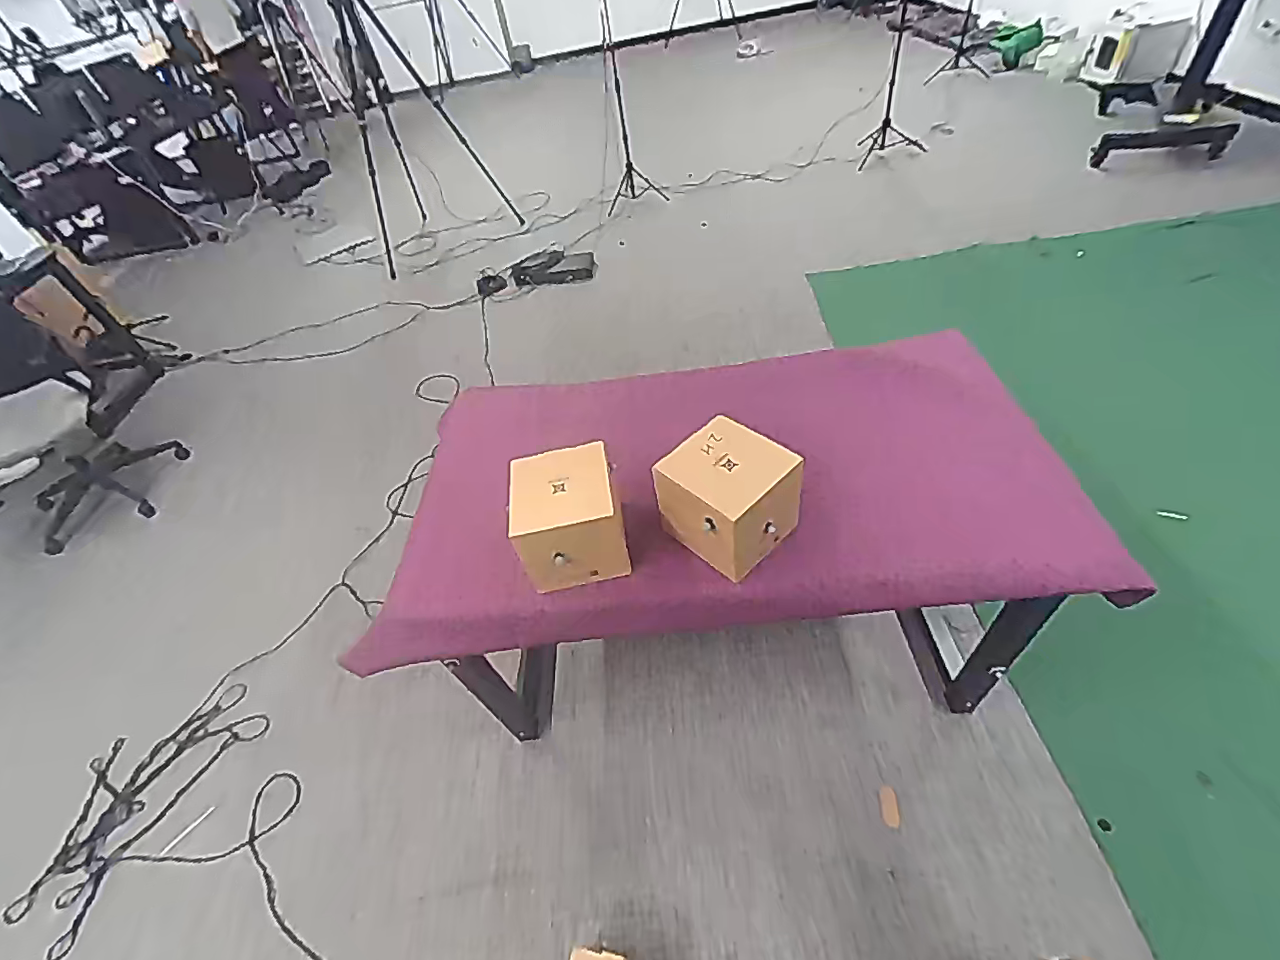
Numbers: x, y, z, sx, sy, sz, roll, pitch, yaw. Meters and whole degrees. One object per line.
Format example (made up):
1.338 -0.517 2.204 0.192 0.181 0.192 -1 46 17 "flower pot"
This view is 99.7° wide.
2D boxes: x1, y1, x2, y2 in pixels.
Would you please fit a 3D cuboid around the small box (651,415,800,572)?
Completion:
0.144 0.028 0.908 0.168 0.176 0.179 -37 51 -23 "small box"

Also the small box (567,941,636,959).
-0.065 1.023 1.038 0.168 0.176 0.179 4 50 16 "small box"

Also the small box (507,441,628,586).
-0.122 0.064 0.930 0.168 0.176 0.179 -12 45 0 "small box"
